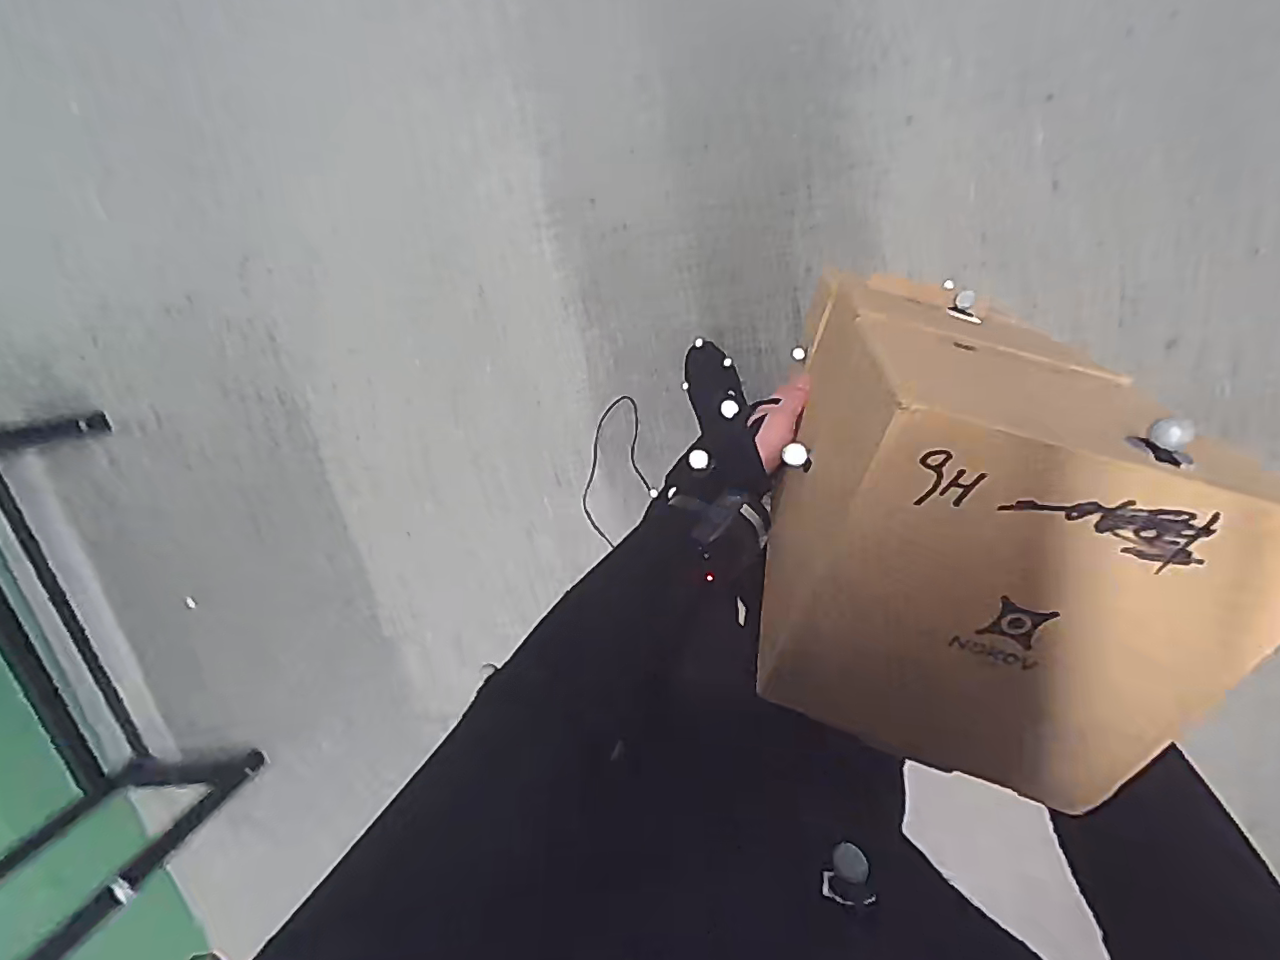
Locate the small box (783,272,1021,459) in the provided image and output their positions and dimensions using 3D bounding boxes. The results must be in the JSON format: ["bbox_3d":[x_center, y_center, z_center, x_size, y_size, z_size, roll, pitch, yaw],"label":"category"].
[{"bbox_3d":[0.256,-0.116,0.579,0.168,0.176,0.179,13,119,10],"label":"small box"}]

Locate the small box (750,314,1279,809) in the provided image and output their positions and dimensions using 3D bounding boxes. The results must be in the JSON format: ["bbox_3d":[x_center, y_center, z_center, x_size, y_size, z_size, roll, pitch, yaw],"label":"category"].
[{"bbox_3d":[0.172,0.028,0.297,0.168,0.176,0.179,17,121,8],"label":"small box"}]
